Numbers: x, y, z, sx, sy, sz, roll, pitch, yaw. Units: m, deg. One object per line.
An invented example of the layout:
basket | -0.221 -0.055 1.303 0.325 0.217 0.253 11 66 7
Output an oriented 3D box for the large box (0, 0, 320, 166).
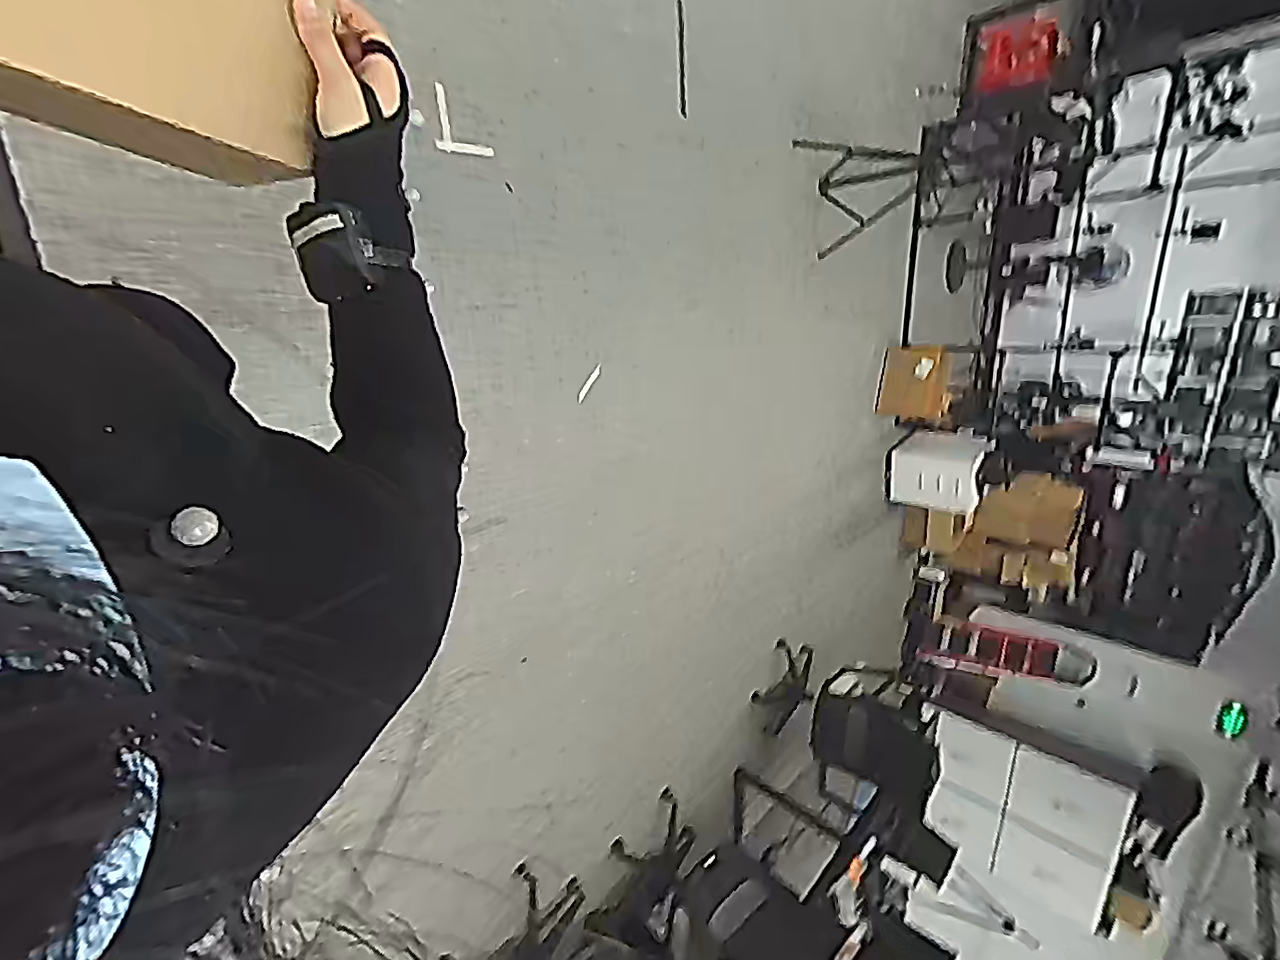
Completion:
large box | -0.466 -0.445 0.350 0.408 0.320 0.320 -1 109 -45
